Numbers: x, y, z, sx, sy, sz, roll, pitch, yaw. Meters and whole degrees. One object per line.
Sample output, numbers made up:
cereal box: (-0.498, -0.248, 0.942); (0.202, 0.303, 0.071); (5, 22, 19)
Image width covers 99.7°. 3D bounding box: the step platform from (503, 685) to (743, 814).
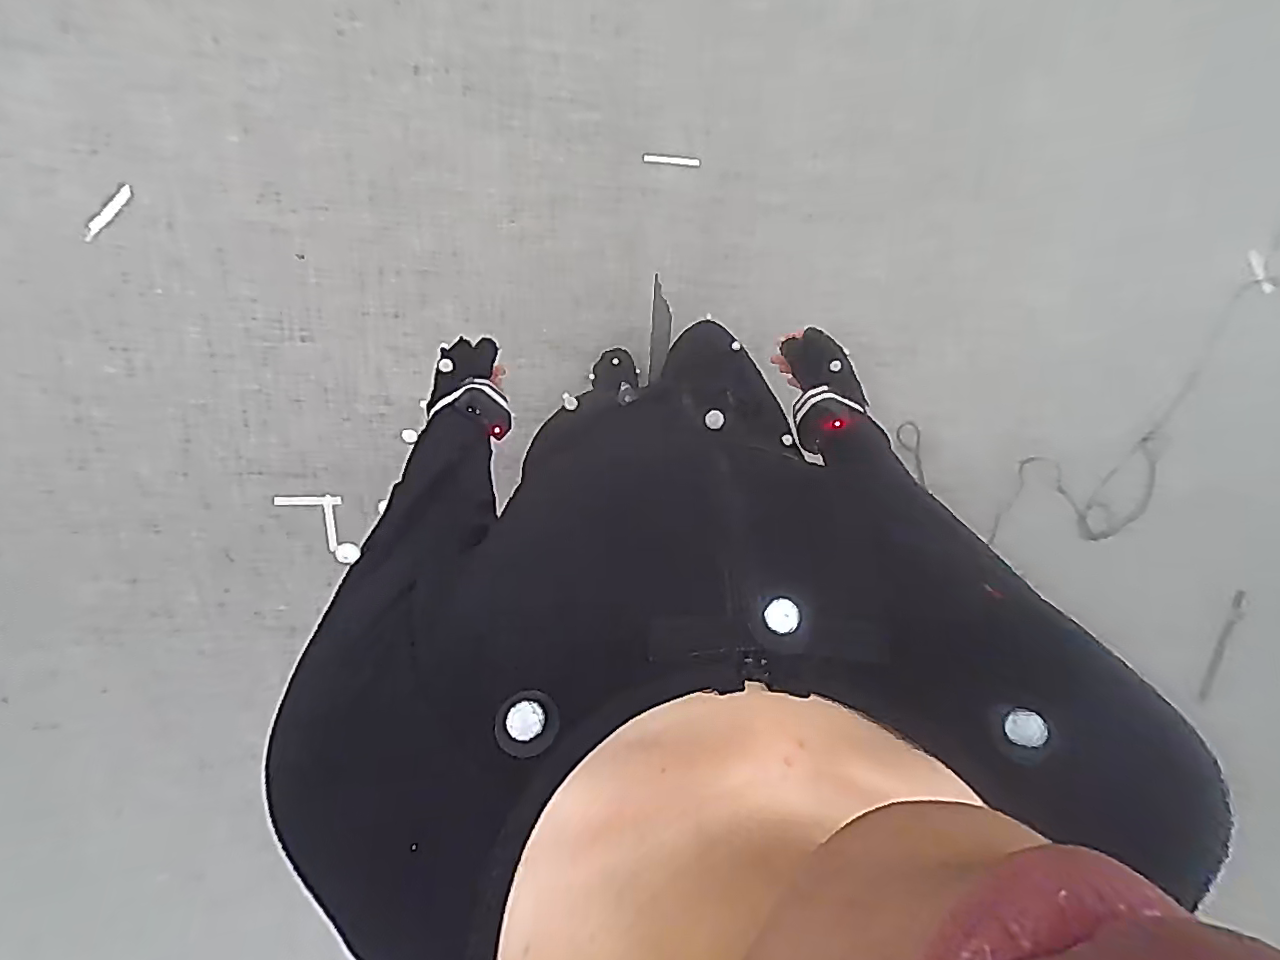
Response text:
step platform: (-0.047, 0.781, 1.569); (0.684, 0.204, 0.286); (1, 103, -2)
